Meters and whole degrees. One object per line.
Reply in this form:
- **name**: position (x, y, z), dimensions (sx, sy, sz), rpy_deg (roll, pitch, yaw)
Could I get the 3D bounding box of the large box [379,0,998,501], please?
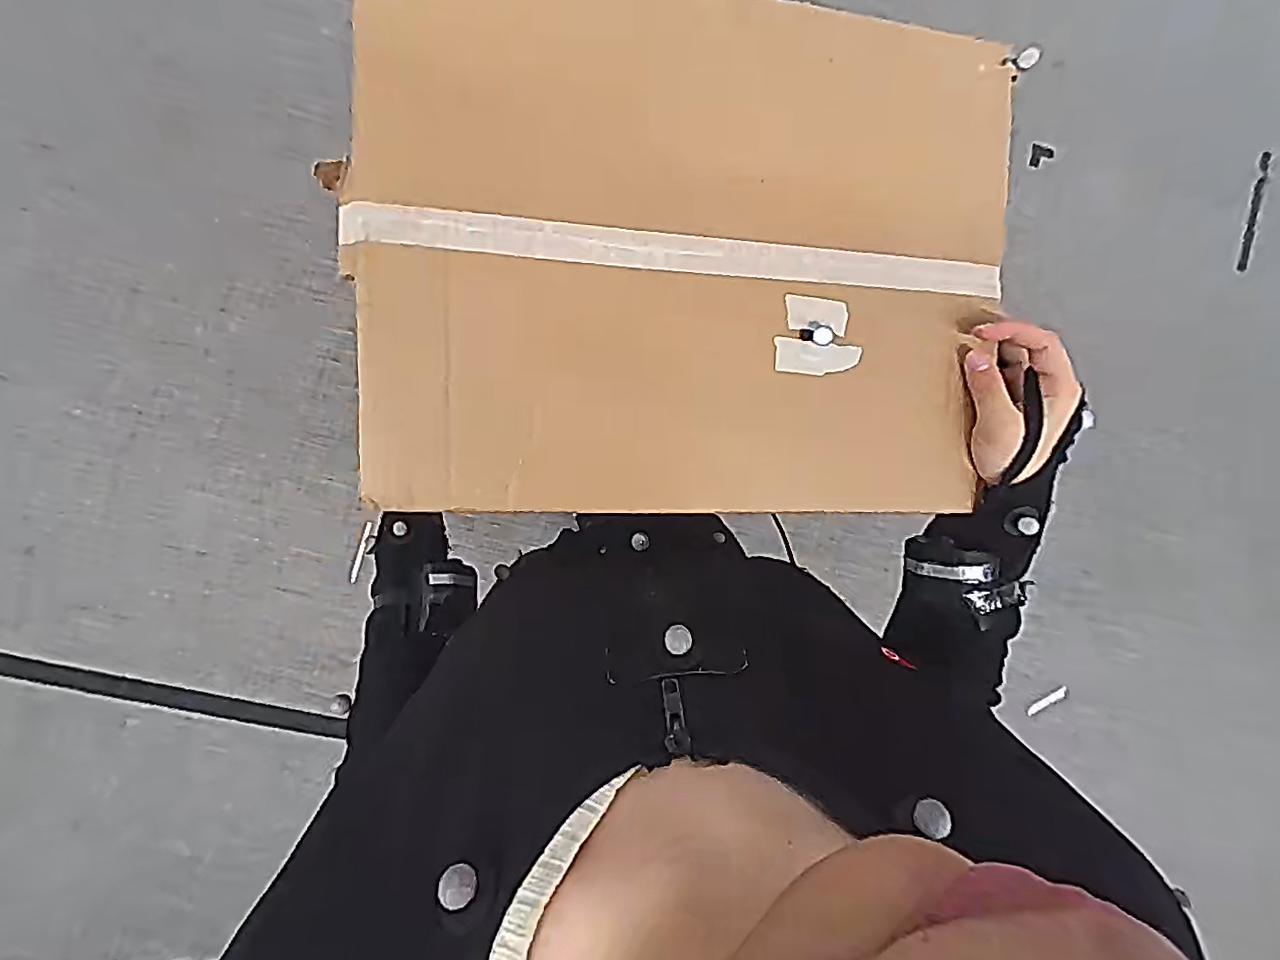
- **large box**: position (0.017, -0.152, 0.484), dimensions (0.408, 0.320, 0.320), rpy_deg (1, 95, -13)
